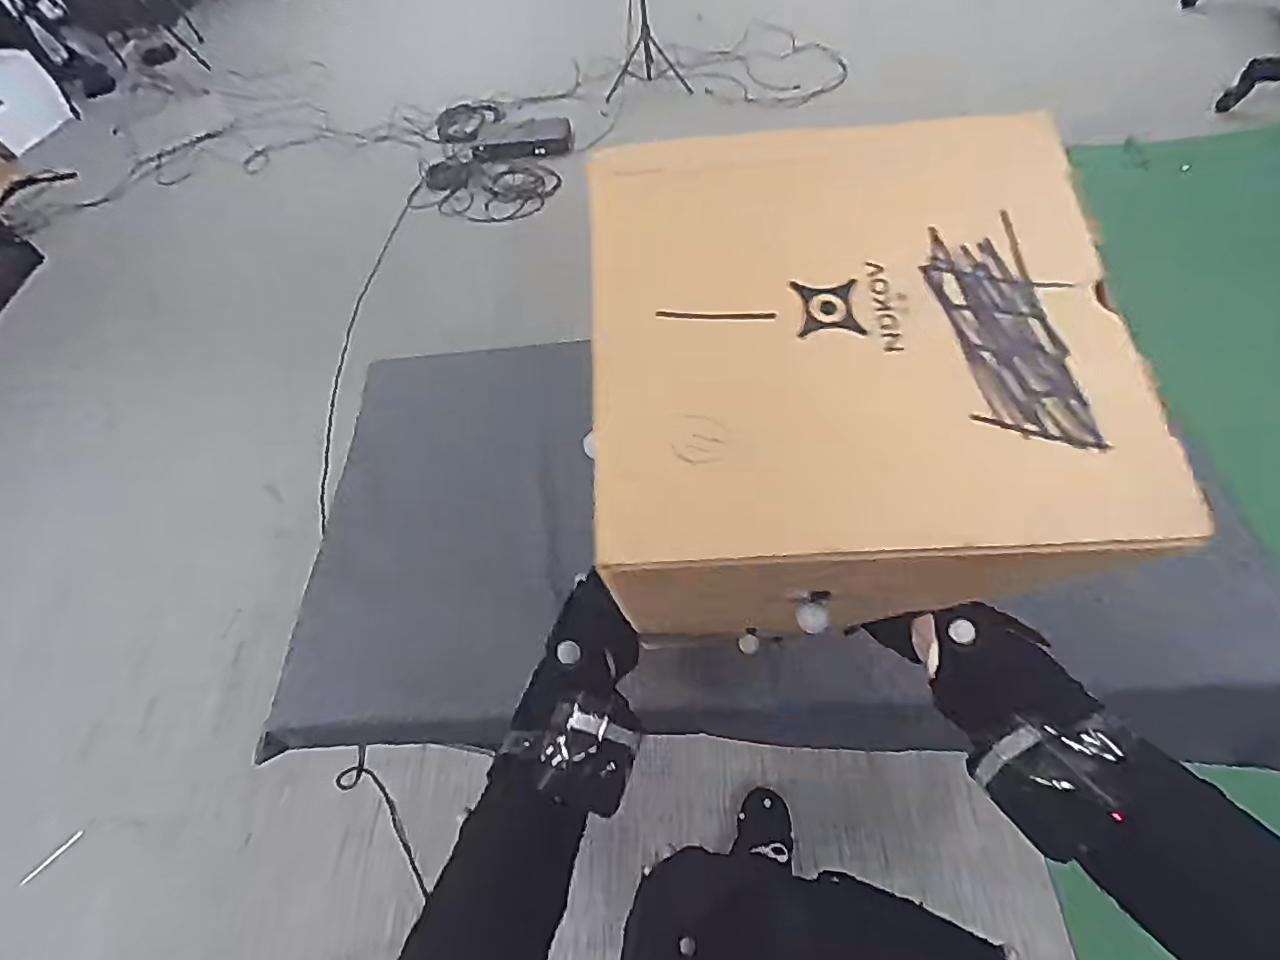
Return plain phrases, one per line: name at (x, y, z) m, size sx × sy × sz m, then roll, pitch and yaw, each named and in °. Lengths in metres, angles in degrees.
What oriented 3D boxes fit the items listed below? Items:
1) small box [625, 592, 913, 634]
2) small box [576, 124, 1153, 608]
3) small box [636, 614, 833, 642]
small box at (0.074, 0.025, 0.419) m, size 0.179 × 0.176 × 0.168 m, roll -6°, pitch 70°, yaw 1°
small box at (0.068, -0.031, 0.263) m, size 0.179 × 0.176 × 0.168 m, roll -3°, pitch 70°, yaw 2°
small box at (0.082, 0.079, 0.573) m, size 0.179 × 0.176 × 0.168 m, roll -5°, pitch 70°, yaw 2°
